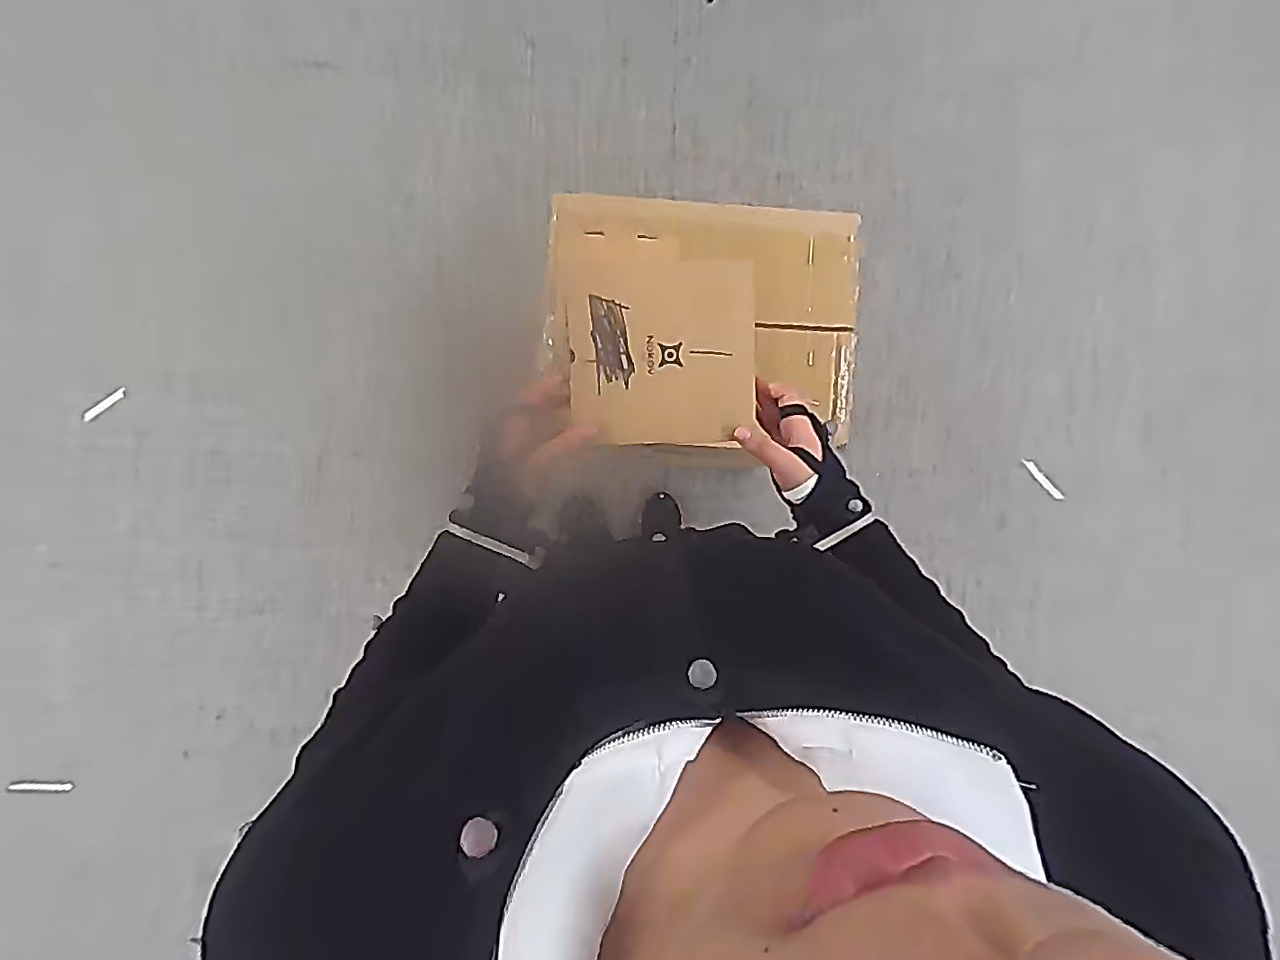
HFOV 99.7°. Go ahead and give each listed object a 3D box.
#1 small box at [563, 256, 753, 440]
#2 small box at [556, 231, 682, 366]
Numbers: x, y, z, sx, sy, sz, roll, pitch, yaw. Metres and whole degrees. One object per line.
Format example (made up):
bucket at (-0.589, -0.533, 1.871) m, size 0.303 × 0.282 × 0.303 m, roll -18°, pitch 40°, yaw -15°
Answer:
small box at (0.017, -0.127, 0.580) m, size 0.179 × 0.176 × 0.168 m, roll -2°, pitch 94°, yaw -2°
small box at (-0.032, -0.245, 0.808) m, size 0.168 × 0.176 × 0.179 m, roll 2°, pitch 91°, yaw -1°
